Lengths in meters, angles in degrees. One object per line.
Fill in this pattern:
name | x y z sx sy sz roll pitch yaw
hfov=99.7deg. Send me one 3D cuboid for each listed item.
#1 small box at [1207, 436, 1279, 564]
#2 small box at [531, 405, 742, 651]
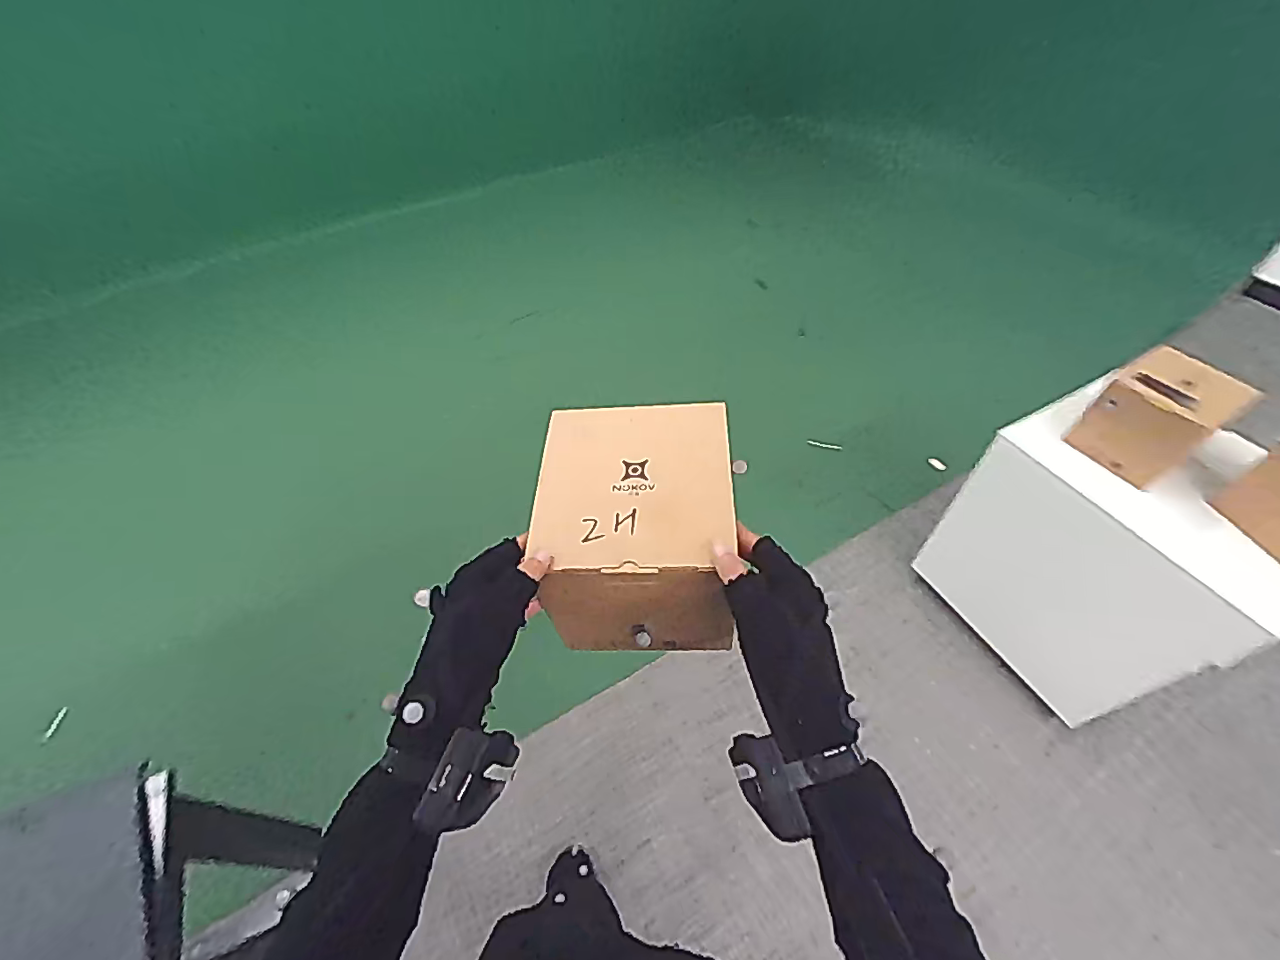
small box | 1.134 0.029 0.898 0.168 0.176 0.179 -14 51 -7
small box | 0.008 0.048 0.524 0.168 0.176 0.179 -1 52 7
